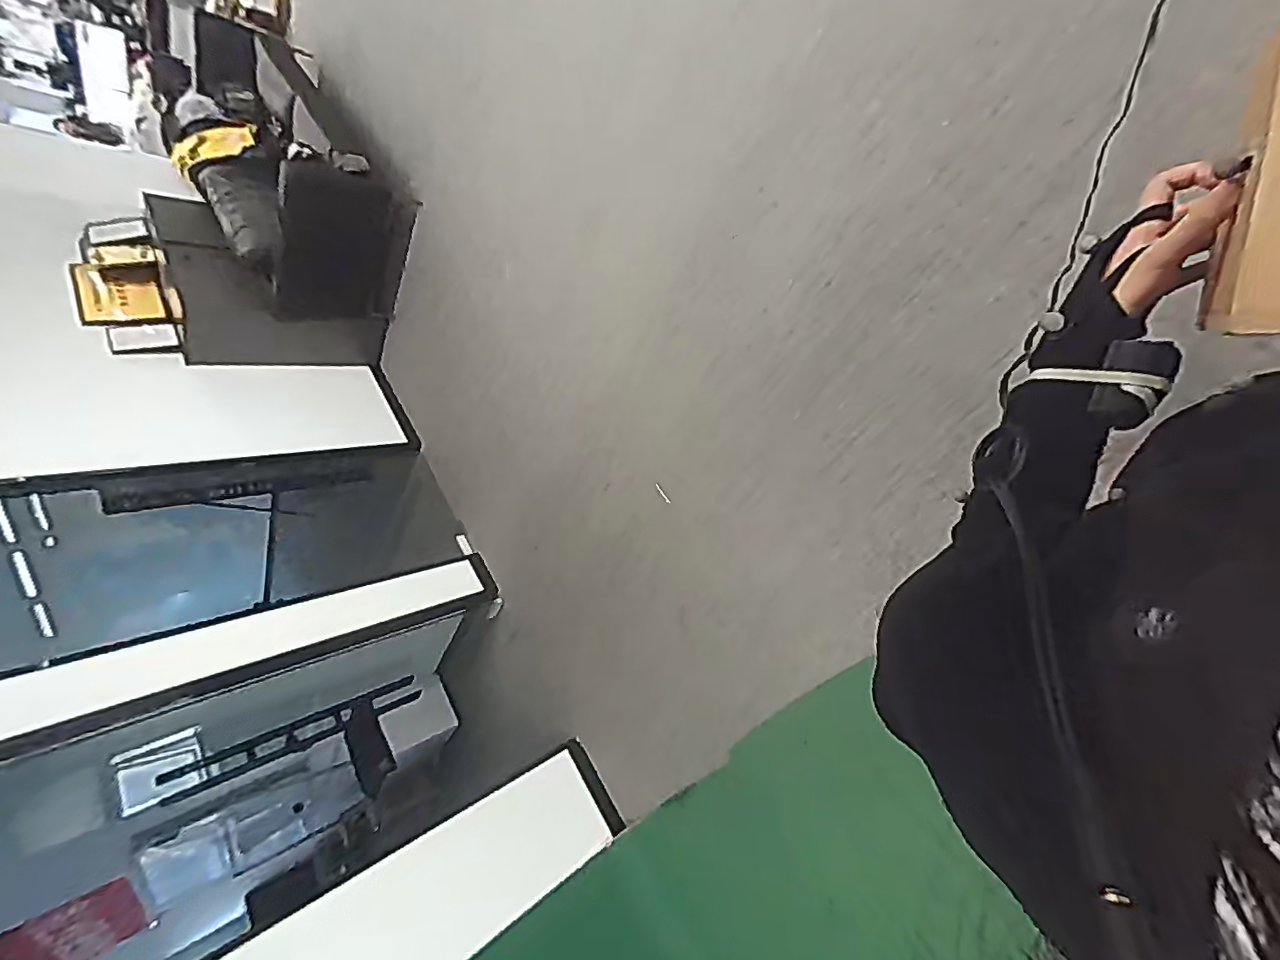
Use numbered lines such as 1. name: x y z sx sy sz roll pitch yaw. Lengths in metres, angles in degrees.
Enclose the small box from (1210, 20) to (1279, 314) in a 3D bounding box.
1. small box: 0.444 -0.187 0.292 0.168 0.176 0.179 8 109 41
